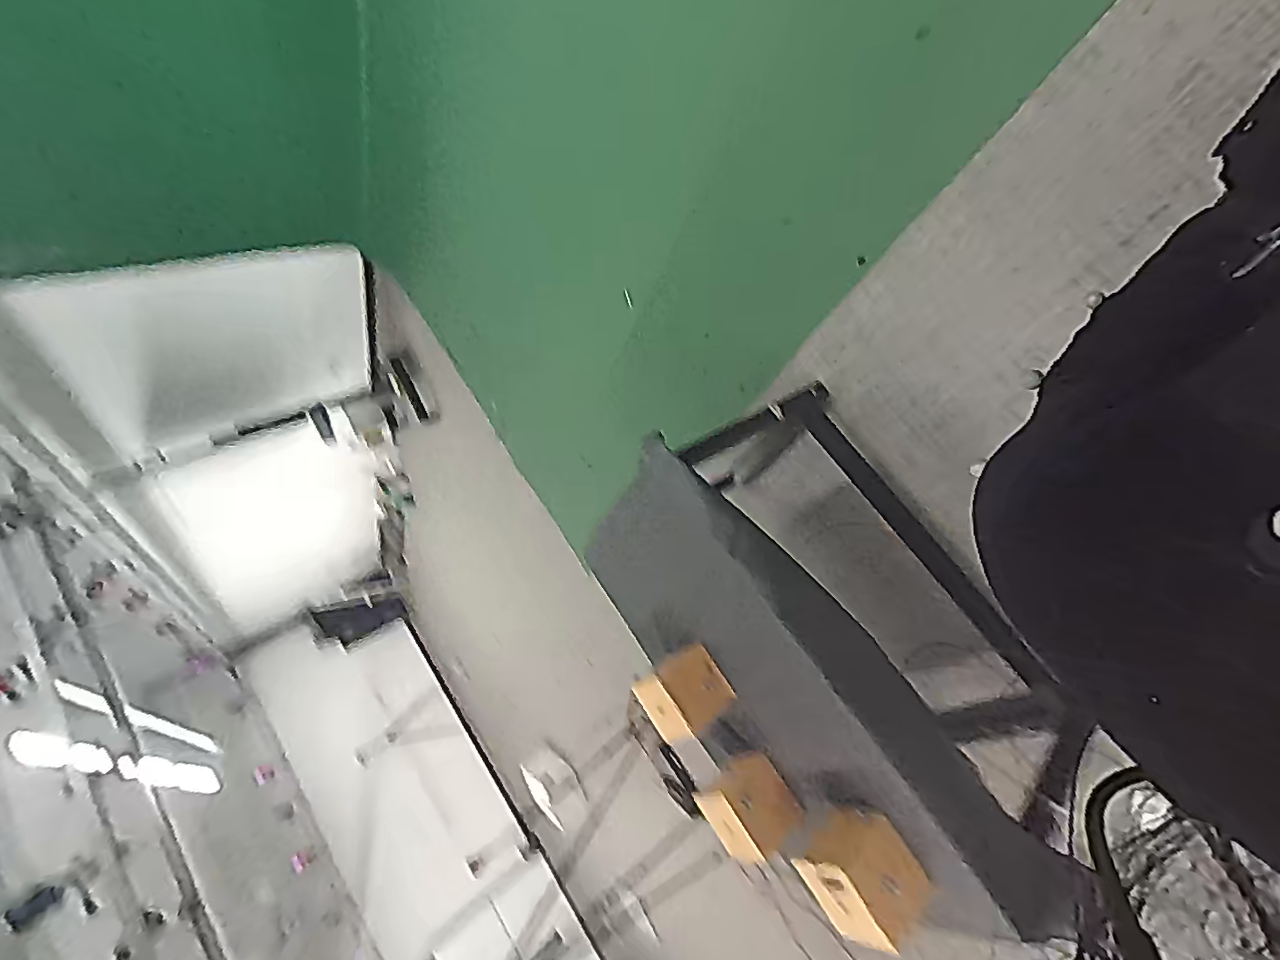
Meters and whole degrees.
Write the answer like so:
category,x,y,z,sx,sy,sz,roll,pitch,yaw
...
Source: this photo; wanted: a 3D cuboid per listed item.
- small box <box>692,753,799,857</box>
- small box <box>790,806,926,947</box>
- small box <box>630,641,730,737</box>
category,x,y,z,sx,sy,sz,roll,pitch,yaw
small box,0.276,0.843,1.417,0.179,0.176,0.168,54,143,12
small box,0.471,0.842,1.171,0.179,0.176,0.168,56,145,10
small box,0.109,0.564,1.460,0.168,0.176,0.179,55,143,12
